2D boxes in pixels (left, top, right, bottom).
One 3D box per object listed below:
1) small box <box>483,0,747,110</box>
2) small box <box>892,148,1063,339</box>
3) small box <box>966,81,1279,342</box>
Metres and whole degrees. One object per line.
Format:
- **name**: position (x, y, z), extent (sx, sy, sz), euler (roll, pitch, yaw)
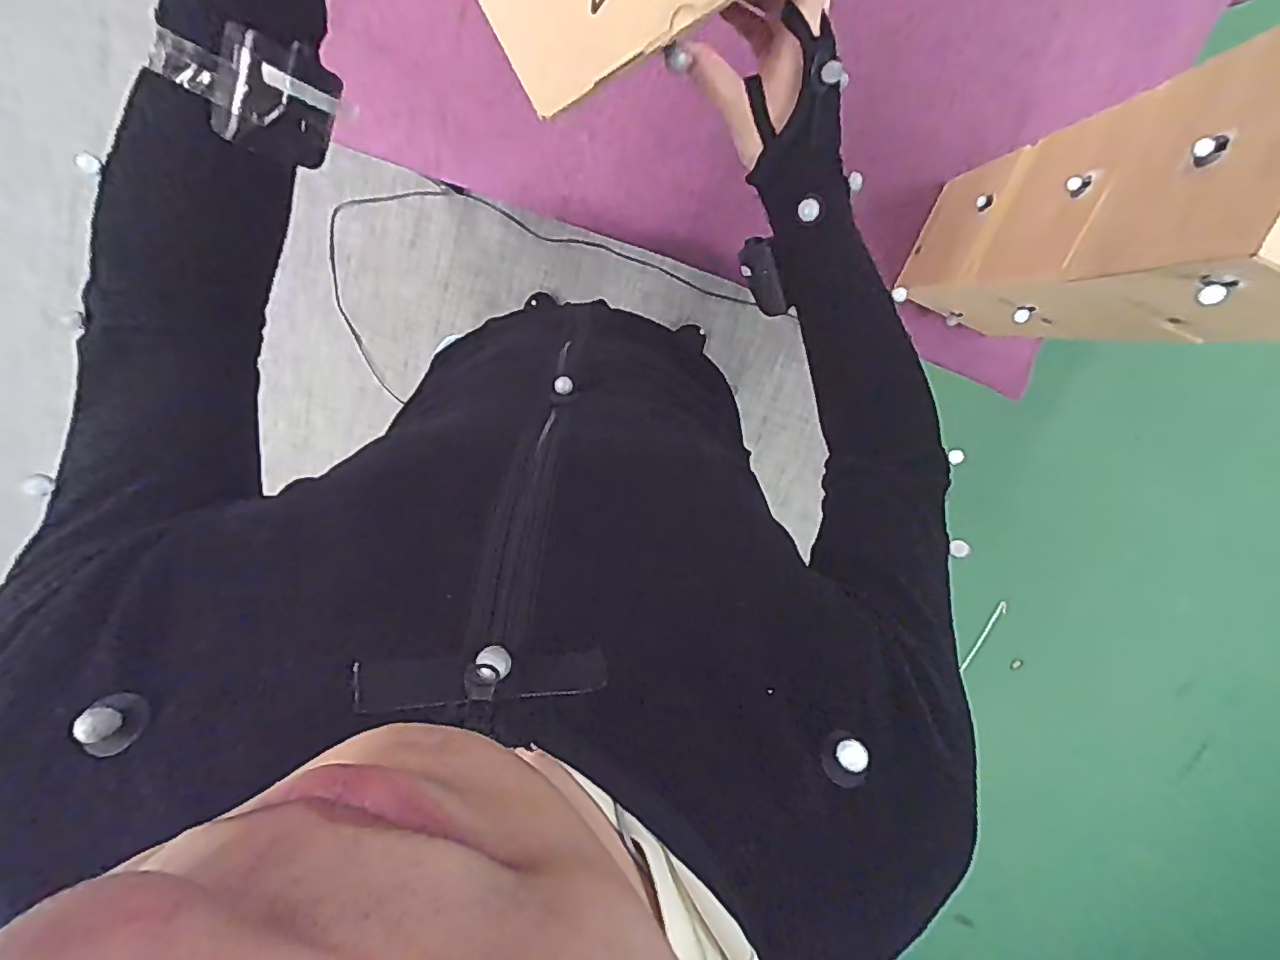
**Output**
- **small box**: position (-0.019, -0.329, 0.282), extent (0.168, 0.176, 0.179), euler (-23, 124, 15)
- **small box**: position (0.487, -0.305, 0.731), extent (0.179, 0.176, 0.168), euler (21, 104, -8)
- **small box**: position (0.495, -0.262, 0.573), extent (0.168, 0.176, 0.179), euler (22, 105, -6)
